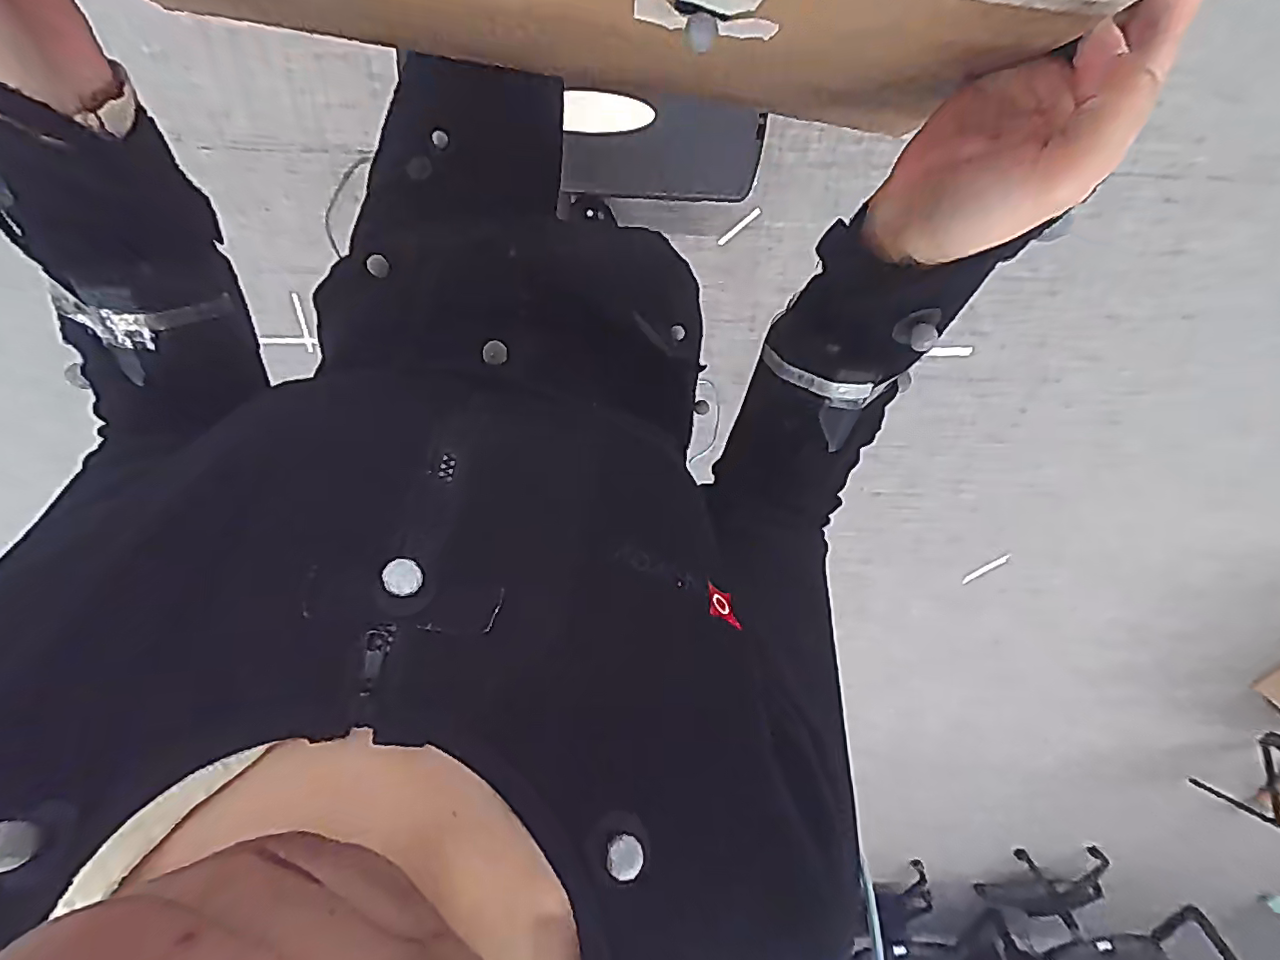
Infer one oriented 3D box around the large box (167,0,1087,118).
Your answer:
[{"bbox_3d":[-0.022,-0.329,0.113,0.408,0.320,0.320,5,108,-5],"label":"large box"}]
